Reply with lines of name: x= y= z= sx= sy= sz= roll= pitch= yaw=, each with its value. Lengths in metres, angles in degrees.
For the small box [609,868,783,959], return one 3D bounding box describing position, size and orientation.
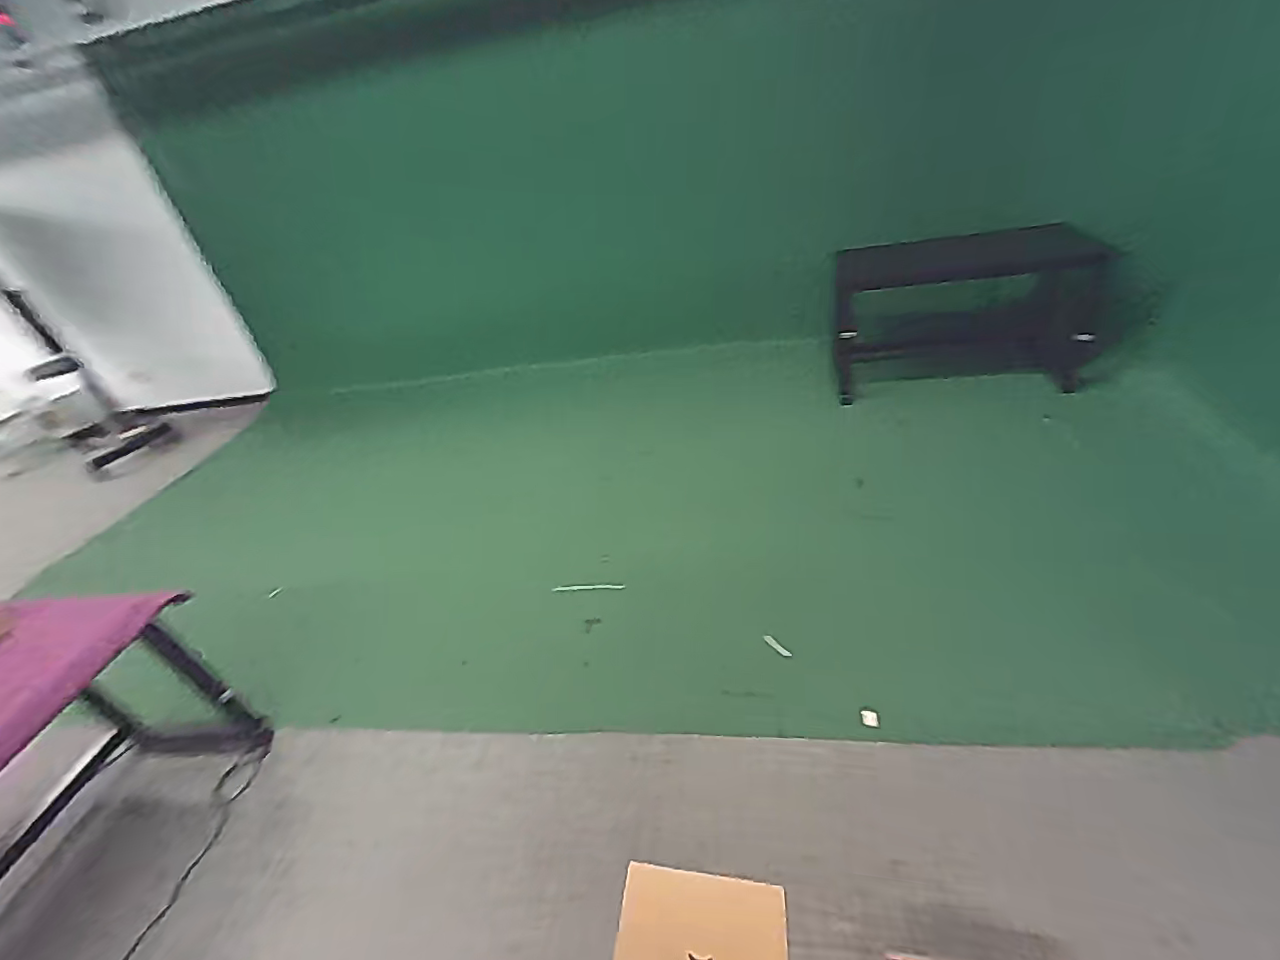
small box: x=0.050 y=0.532 z=0.534 sx=0.168 sy=0.176 sz=0.179 roll=3 pitch=31 yaw=8
